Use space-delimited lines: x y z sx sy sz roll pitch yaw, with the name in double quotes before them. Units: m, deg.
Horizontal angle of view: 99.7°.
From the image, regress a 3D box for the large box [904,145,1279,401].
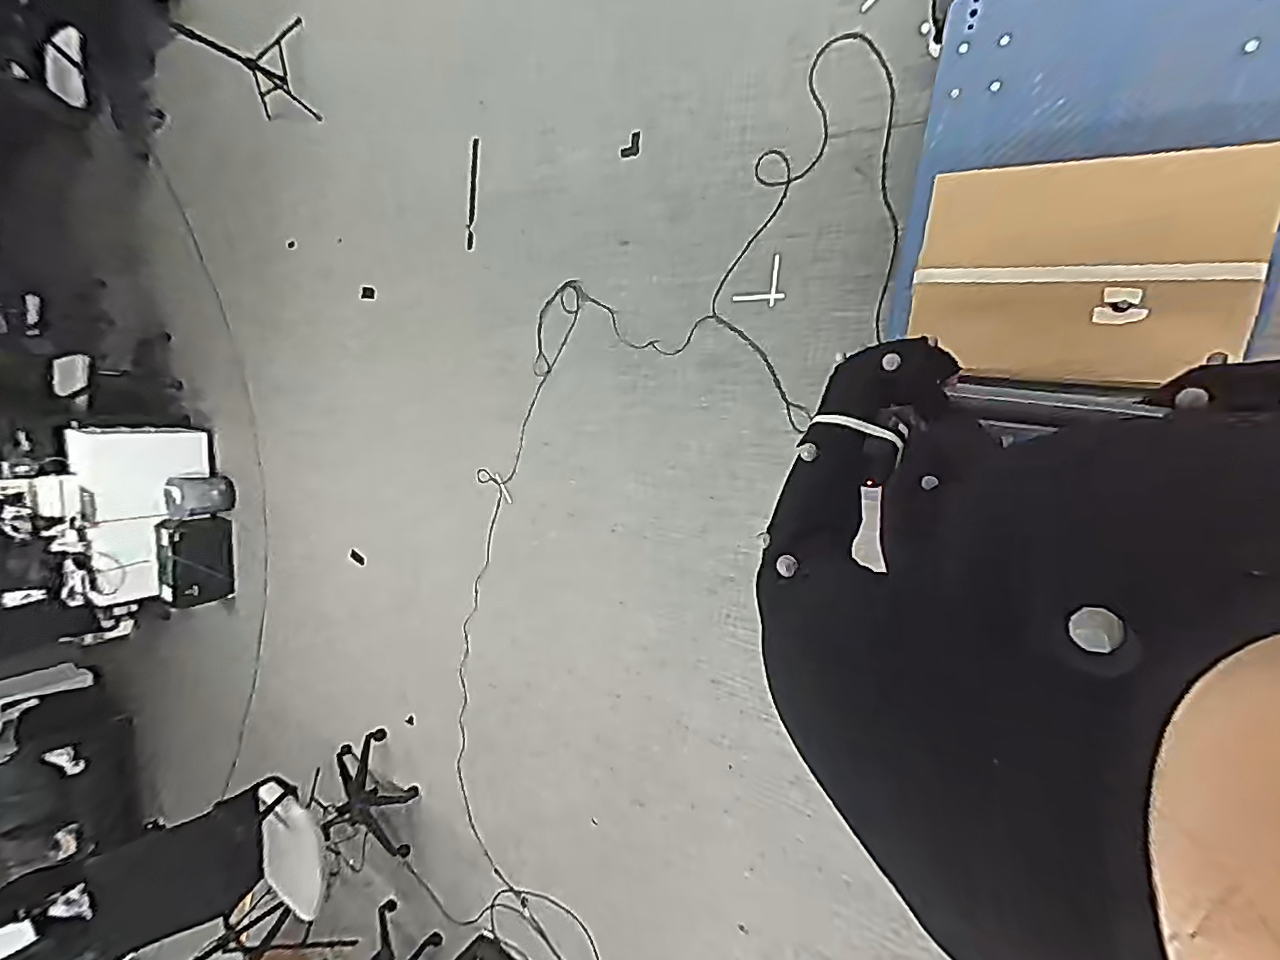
"large box" 0.700 -0.309 0.916 0.408 0.320 0.320 11 102 30
